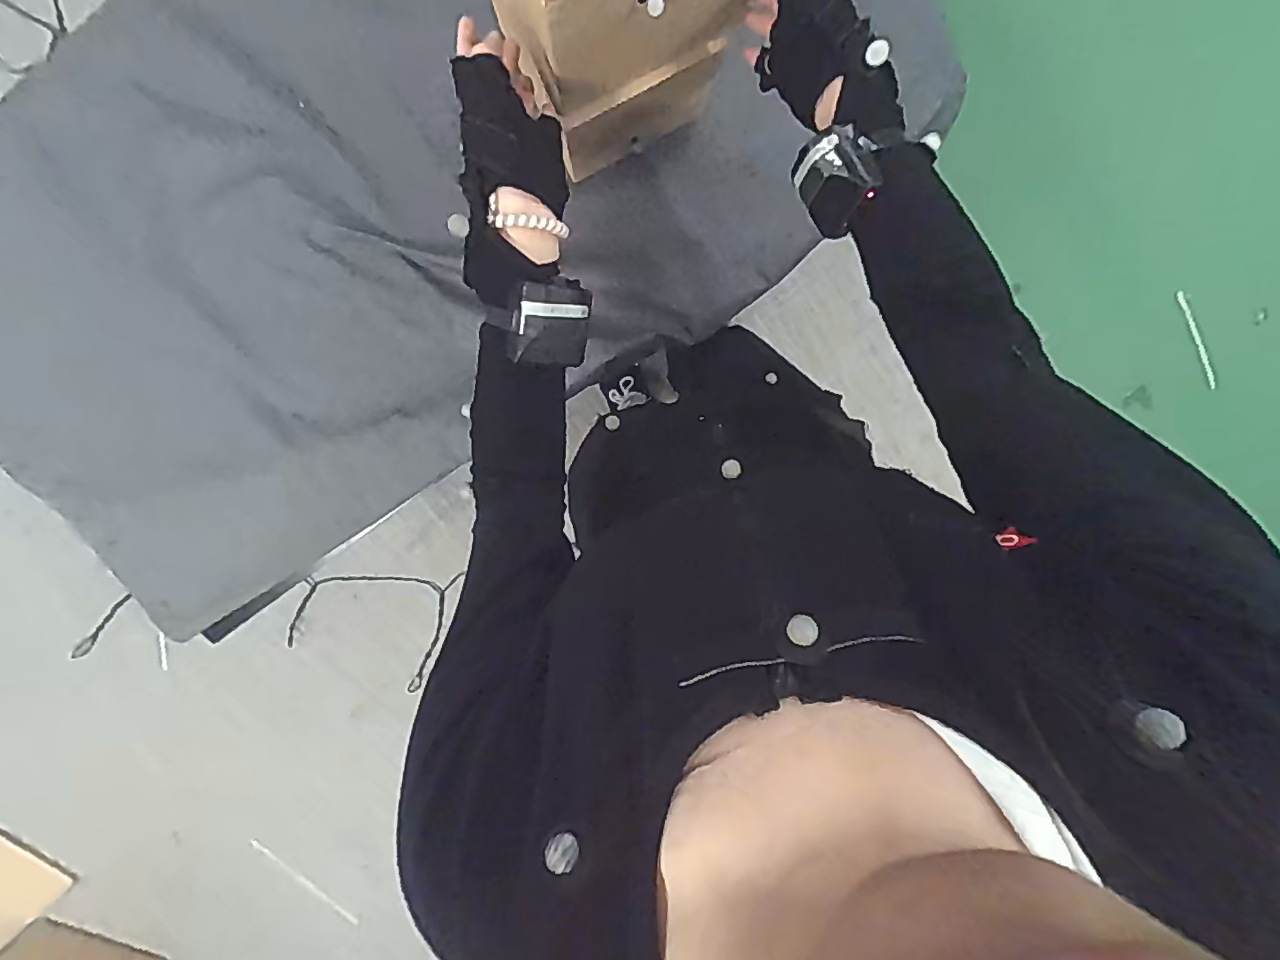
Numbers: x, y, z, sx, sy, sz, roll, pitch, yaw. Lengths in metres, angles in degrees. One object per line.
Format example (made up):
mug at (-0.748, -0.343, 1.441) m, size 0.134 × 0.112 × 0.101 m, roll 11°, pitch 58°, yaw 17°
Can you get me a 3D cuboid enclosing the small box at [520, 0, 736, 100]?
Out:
small box at (-0.019, -0.415, 0.380) m, size 0.179 × 0.176 × 0.168 m, roll -25°, pitch 106°, yaw 3°
